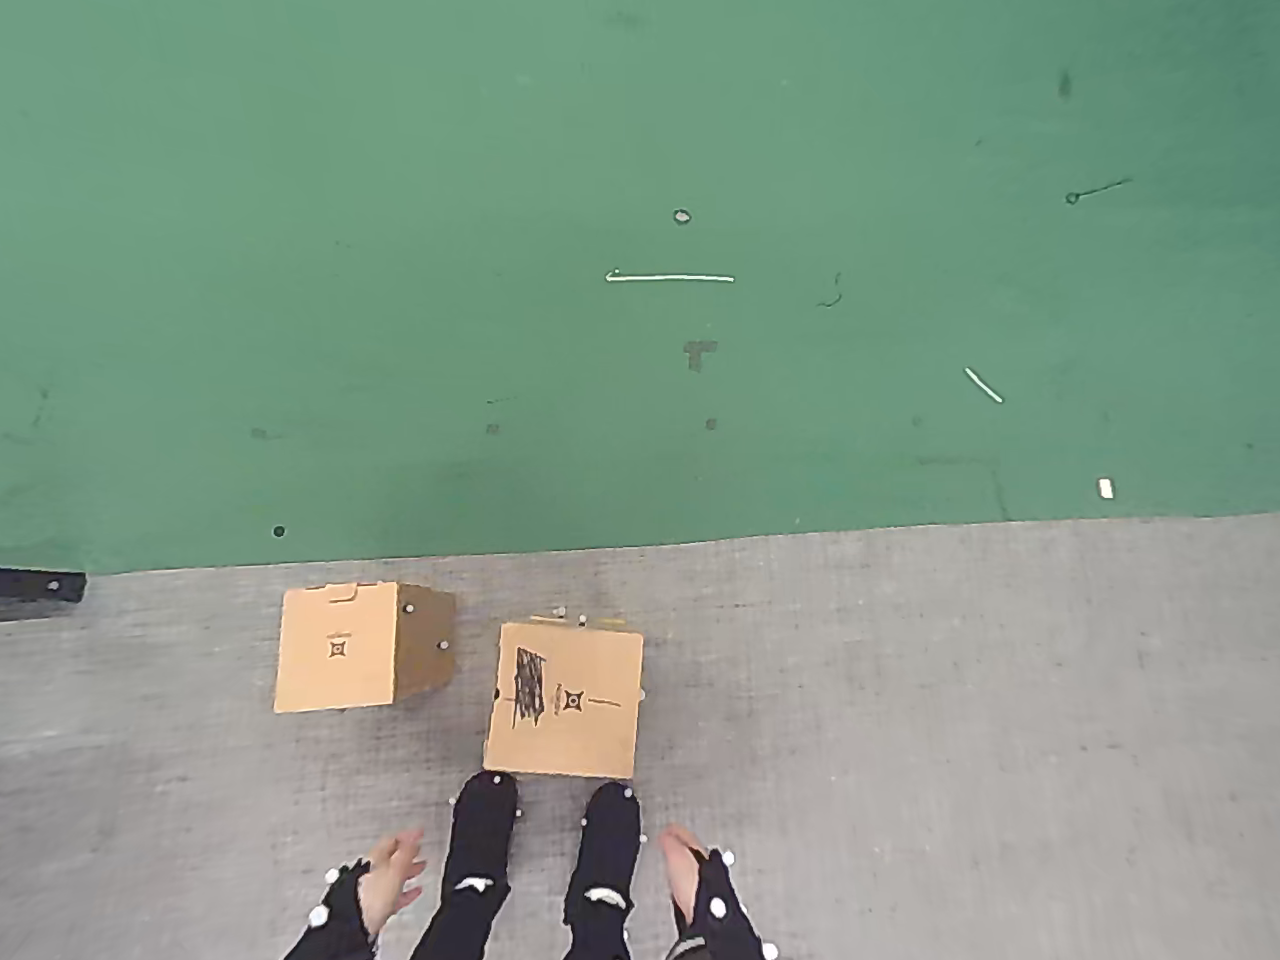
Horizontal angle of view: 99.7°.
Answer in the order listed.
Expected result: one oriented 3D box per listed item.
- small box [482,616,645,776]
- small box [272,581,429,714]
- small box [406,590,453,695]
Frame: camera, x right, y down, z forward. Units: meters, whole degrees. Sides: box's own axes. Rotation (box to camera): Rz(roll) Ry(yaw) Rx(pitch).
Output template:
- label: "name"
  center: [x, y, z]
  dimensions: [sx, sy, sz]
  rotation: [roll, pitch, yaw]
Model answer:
- label: "small box"
  center: [-0.092, 0.270, 0.710]
  dimensions: [0.179, 0.176, 0.168]
  rotation: [6, 77, -4]
- label: "small box"
  center: [-0.443, 0.257, 0.856]
  dimensions: [0.168, 0.176, 0.179]
  rotation: [-4, 76, -5]
- label: "small box"
  center: [-0.454, 0.301, 1.013]
  dimensions: [0.168, 0.176, 0.179]
  rotation: [-5, 78, -6]
